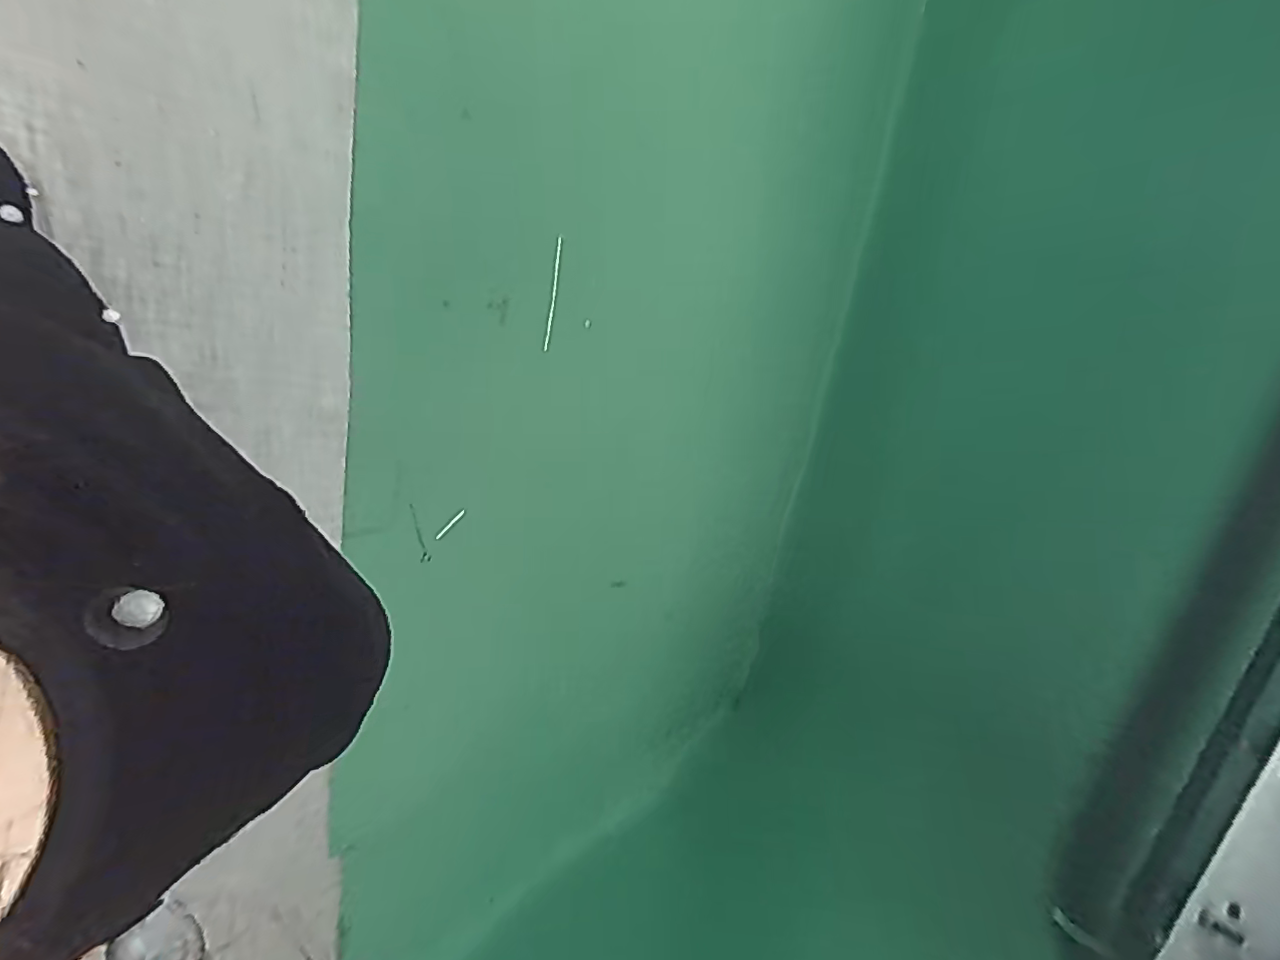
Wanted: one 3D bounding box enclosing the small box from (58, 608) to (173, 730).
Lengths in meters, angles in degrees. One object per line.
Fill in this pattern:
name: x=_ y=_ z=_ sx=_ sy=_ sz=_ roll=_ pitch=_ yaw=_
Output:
small box: x=-1.140 y=0.399 z=1.180 sx=0.168 sy=0.176 sz=0.179 roll=-8 pitch=114 yaw=-48
